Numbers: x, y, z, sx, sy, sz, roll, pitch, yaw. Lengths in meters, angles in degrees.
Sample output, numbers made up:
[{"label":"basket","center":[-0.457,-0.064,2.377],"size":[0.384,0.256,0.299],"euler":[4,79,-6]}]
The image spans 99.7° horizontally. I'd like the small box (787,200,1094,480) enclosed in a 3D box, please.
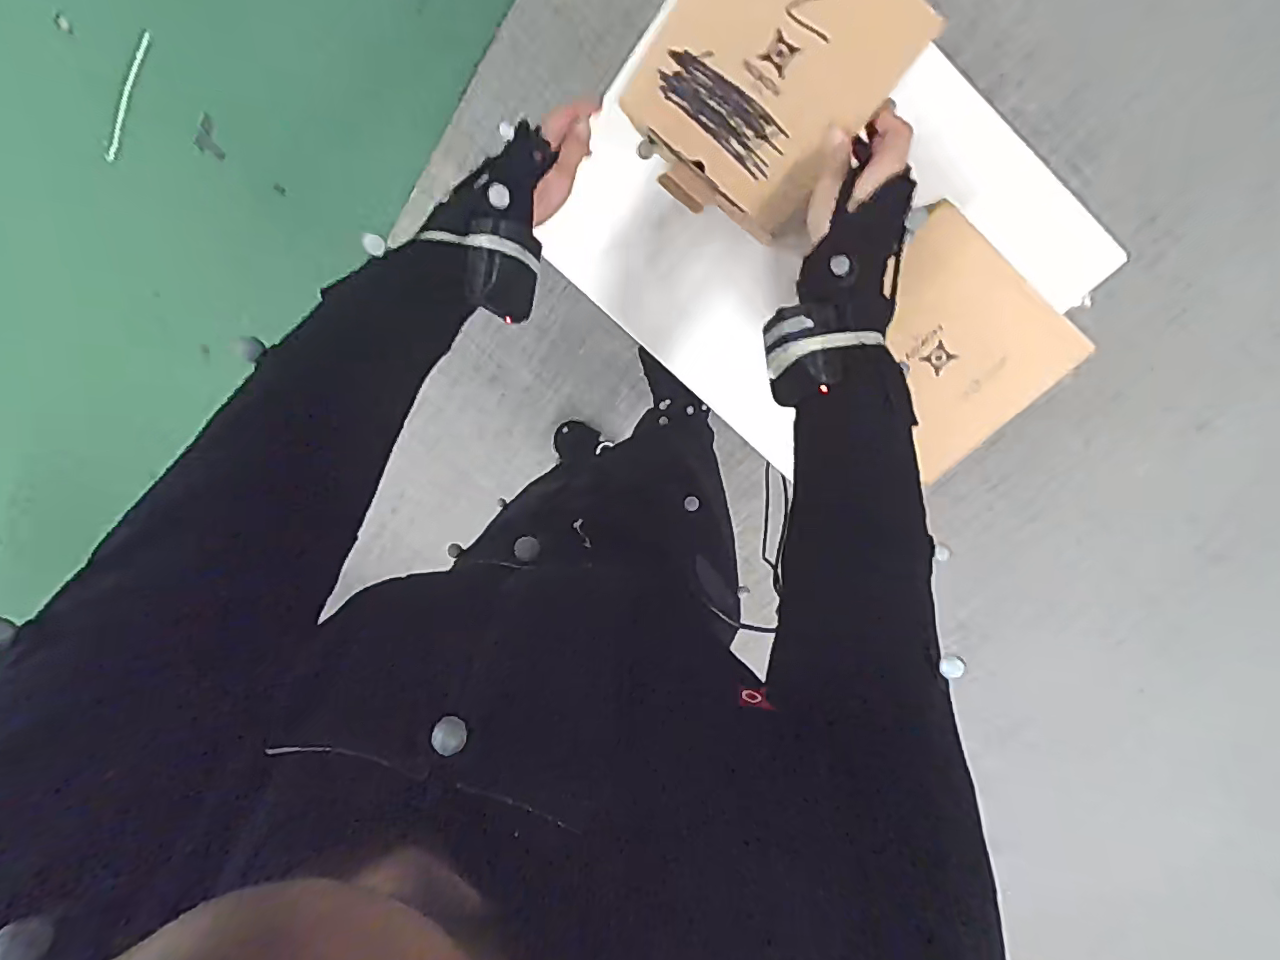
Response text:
[{"label":"small box","center":[0.263,-0.135,0.526],"size":[0.179,0.176,0.168],"euler":[40,114,-7]}]
